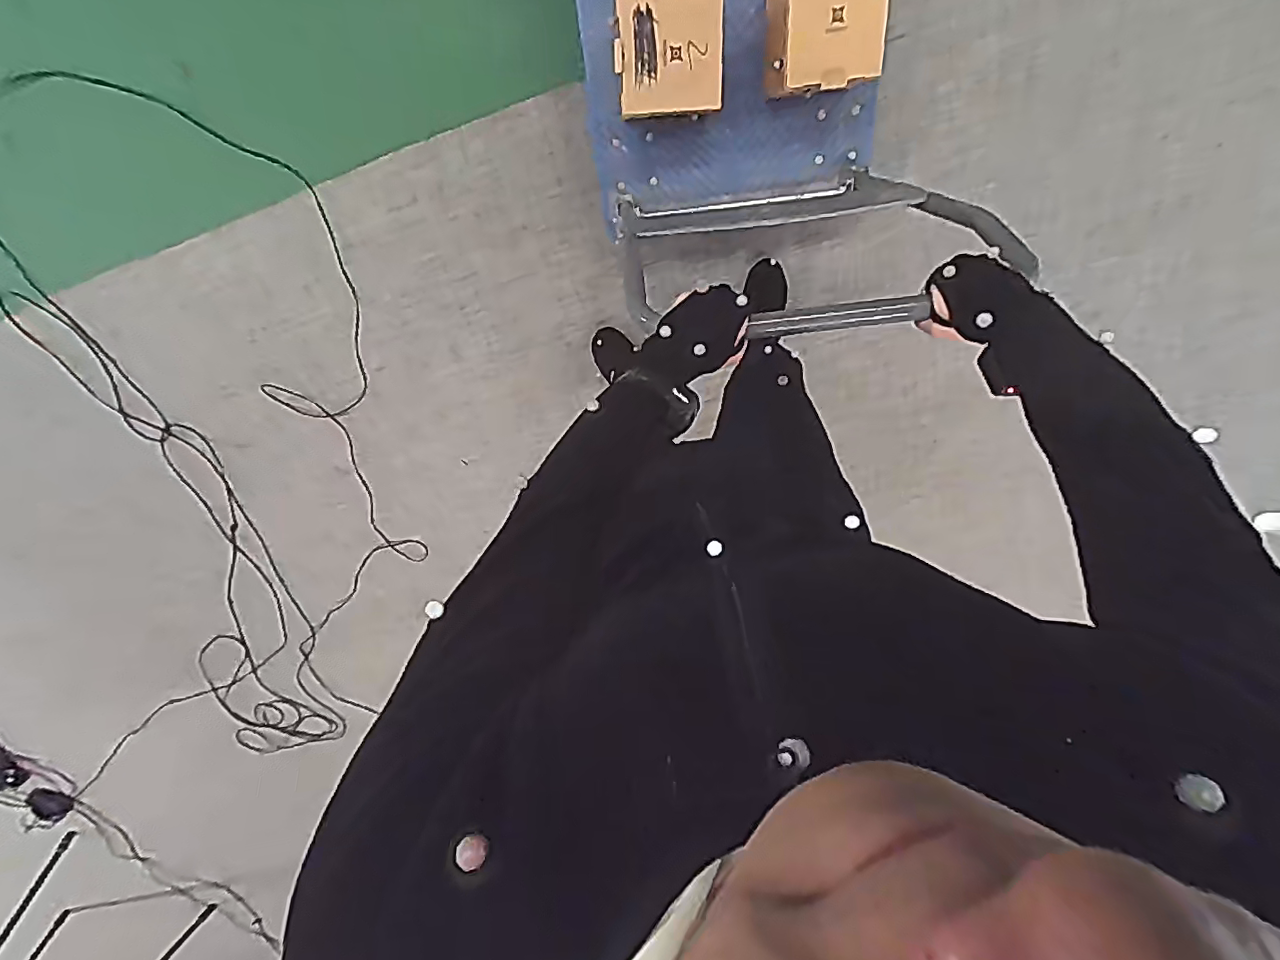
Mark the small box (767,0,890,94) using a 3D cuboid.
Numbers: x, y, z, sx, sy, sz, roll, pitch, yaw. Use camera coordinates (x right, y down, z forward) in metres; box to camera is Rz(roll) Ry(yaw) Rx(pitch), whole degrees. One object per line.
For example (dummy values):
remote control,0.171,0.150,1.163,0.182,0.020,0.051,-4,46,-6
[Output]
small box,0.324,-0.804,0.955,0.168,0.176,0.179,-6,122,2
